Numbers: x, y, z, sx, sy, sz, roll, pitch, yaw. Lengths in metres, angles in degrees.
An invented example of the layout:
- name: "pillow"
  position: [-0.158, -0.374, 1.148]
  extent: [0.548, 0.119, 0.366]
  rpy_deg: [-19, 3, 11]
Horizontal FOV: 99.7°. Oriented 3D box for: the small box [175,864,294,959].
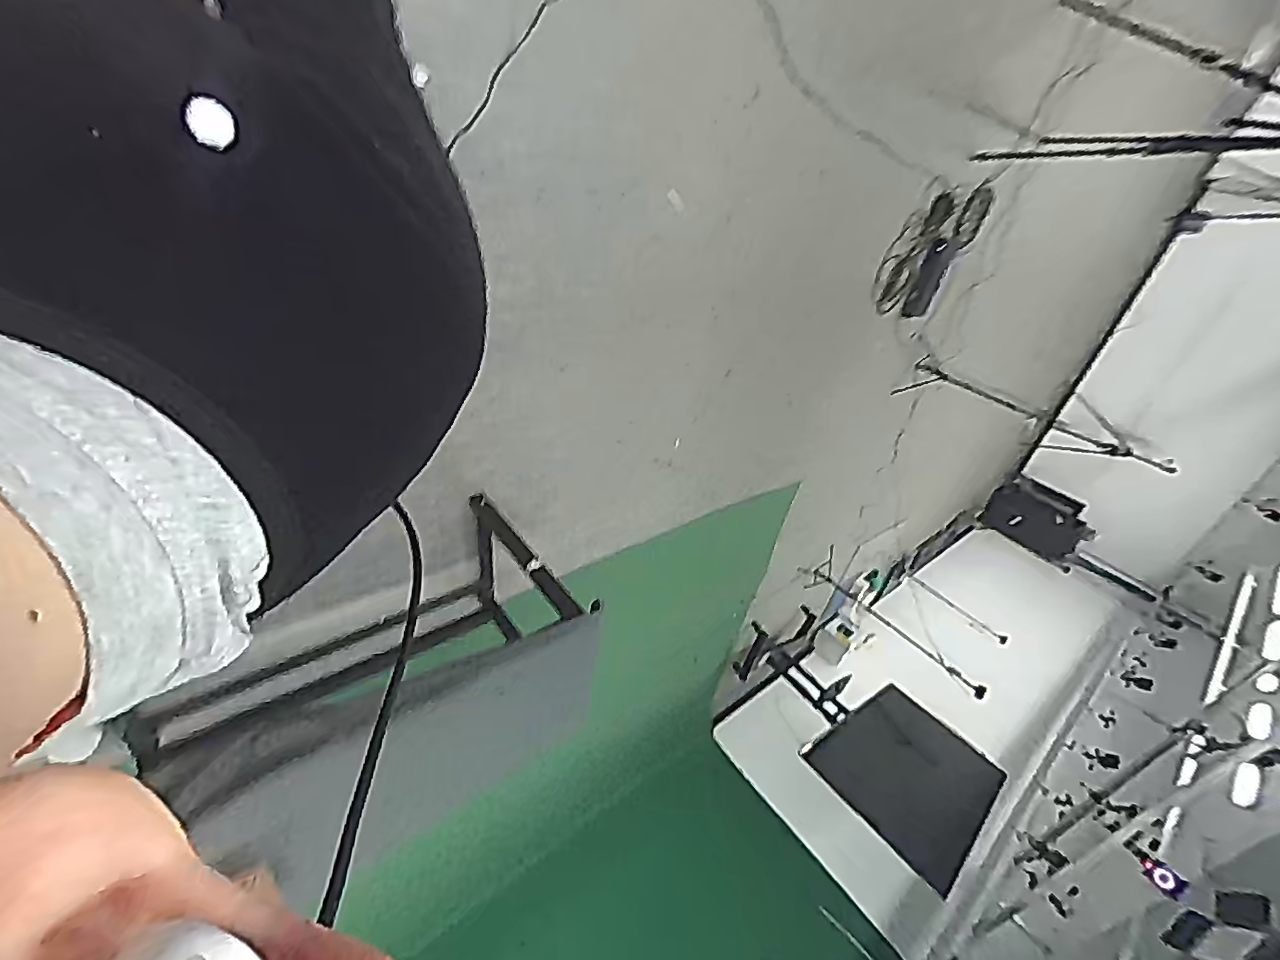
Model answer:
- name: "small box"
  position: [-0.897, 1.003, 1.197]
  extent: [0.168, 0.176, 0.179]
  rpy_deg: [-18, 134, -37]
